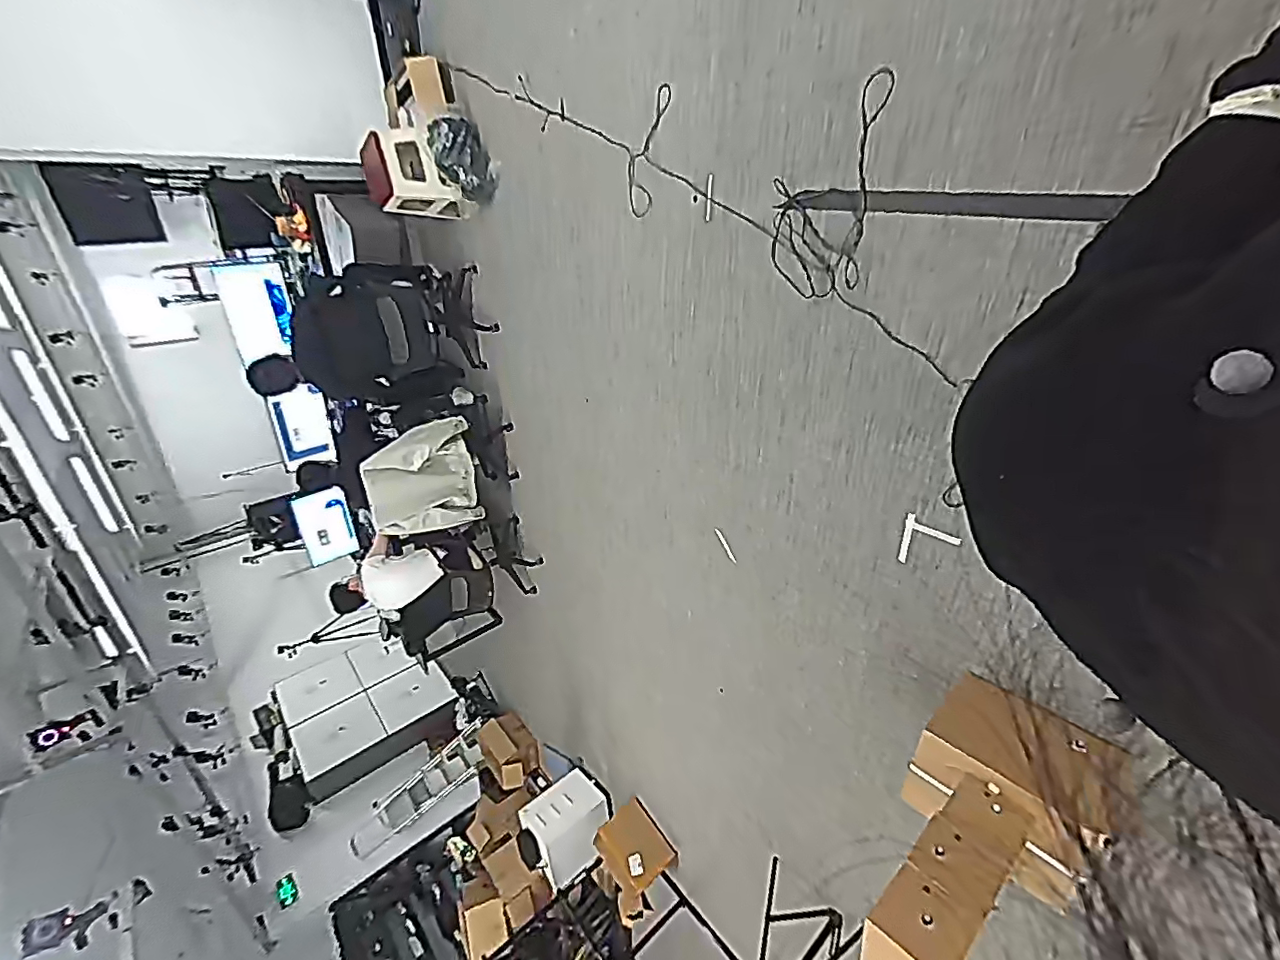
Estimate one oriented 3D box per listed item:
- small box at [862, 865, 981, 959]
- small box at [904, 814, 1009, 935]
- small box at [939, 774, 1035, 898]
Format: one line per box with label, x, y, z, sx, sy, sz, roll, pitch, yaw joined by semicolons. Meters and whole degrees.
small box;0.598;0.982;1.150;0.168;0.176;0.179;20;123;47
small box;0.719;0.927;1.247;0.168;0.176;0.179;25;127;45
small box;0.845;0.884;1.341;0.168;0.176;0.179;25;126;43
